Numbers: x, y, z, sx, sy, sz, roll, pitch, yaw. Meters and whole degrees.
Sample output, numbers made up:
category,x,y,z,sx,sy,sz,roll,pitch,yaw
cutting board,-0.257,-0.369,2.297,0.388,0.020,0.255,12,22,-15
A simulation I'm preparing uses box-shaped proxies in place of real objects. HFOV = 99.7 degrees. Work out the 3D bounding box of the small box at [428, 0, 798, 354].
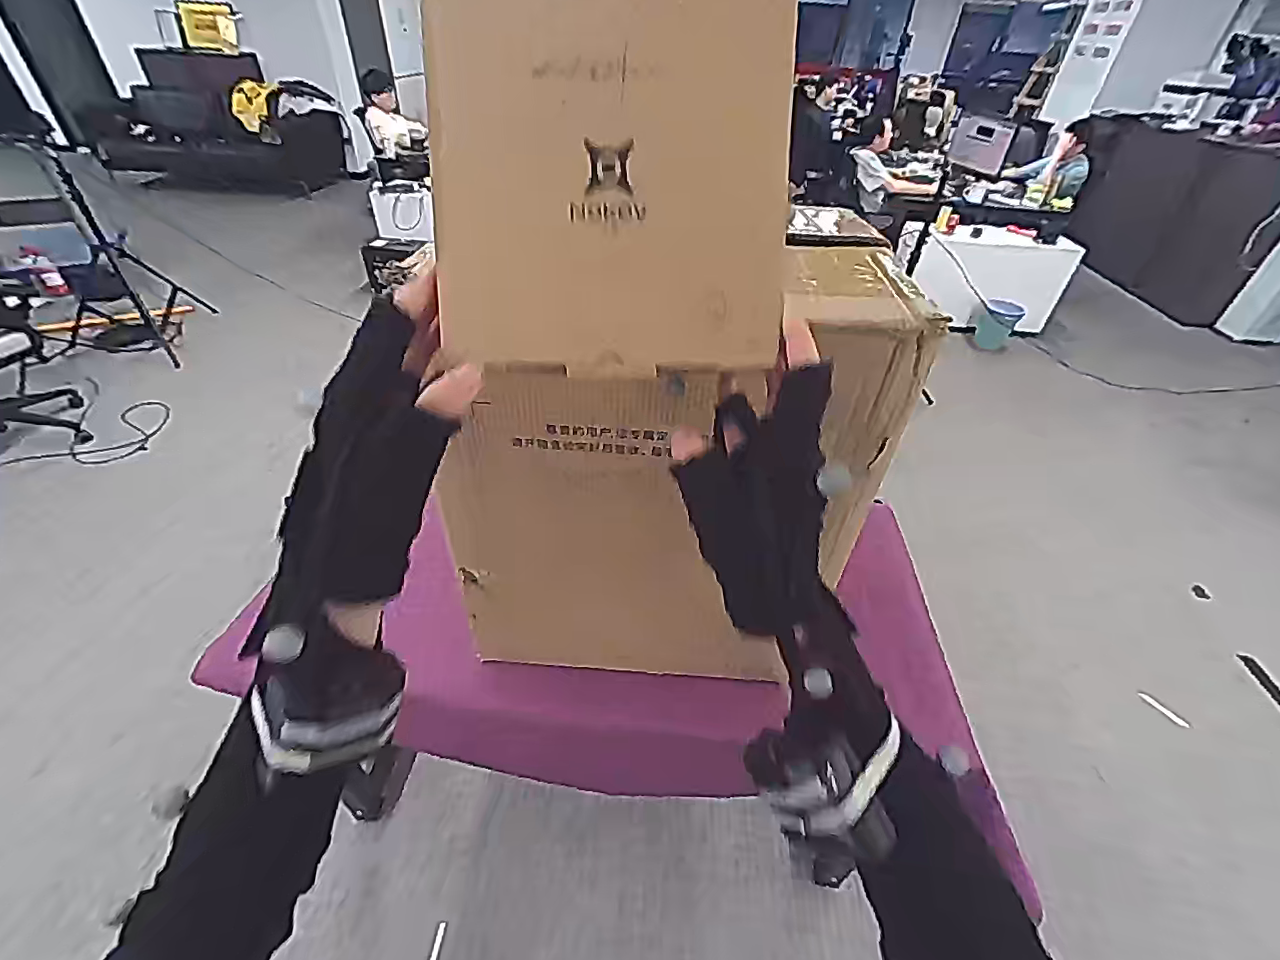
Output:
category,x,y,z,sx,sy,sz,roll,pitch,yaw
small box,-0.011,-0.168,0.326,0.168,0.179,0.176,0,10,0
